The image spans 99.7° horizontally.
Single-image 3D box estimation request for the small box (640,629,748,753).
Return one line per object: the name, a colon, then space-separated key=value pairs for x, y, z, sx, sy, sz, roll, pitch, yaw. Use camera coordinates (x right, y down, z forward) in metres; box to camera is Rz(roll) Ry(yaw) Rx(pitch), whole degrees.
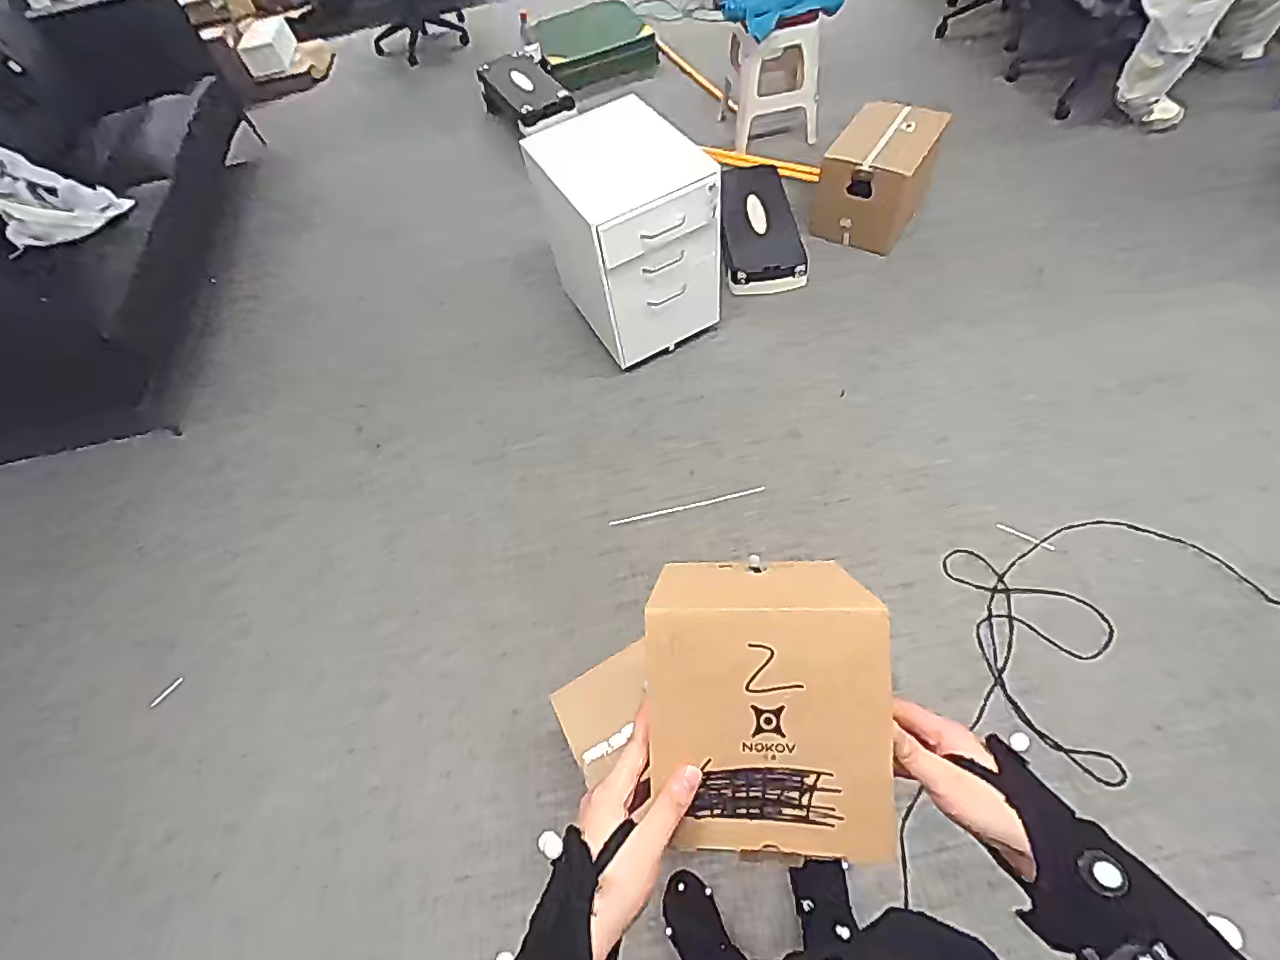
small box: x=0.105 y=0.391 z=0.992 sx=0.168 sy=0.176 sz=0.179 roll=7 pitch=63 yaw=11
